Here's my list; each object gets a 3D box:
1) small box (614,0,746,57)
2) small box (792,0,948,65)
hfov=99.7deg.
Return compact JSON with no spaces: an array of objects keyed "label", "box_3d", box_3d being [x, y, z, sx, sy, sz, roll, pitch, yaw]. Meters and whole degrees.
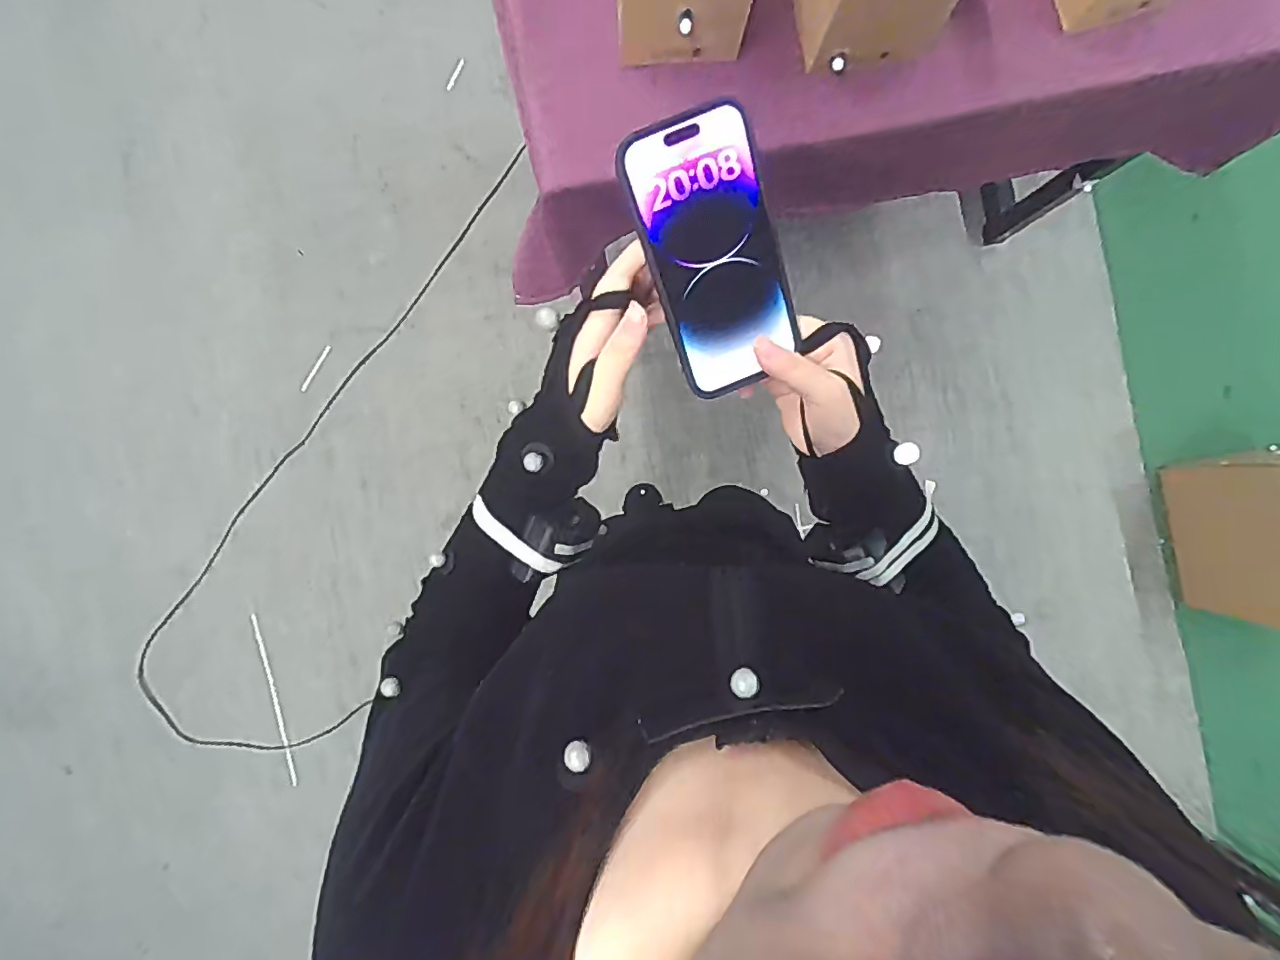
[{"label":"small box","box_3d":[0.048,-0.672,0.678,0.168,0.176,0.179,-4,91,-1]},{"label":"small box","box_3d":[0.298,-0.669,0.683,0.168,0.176,0.179,-11,90,-1]}]
